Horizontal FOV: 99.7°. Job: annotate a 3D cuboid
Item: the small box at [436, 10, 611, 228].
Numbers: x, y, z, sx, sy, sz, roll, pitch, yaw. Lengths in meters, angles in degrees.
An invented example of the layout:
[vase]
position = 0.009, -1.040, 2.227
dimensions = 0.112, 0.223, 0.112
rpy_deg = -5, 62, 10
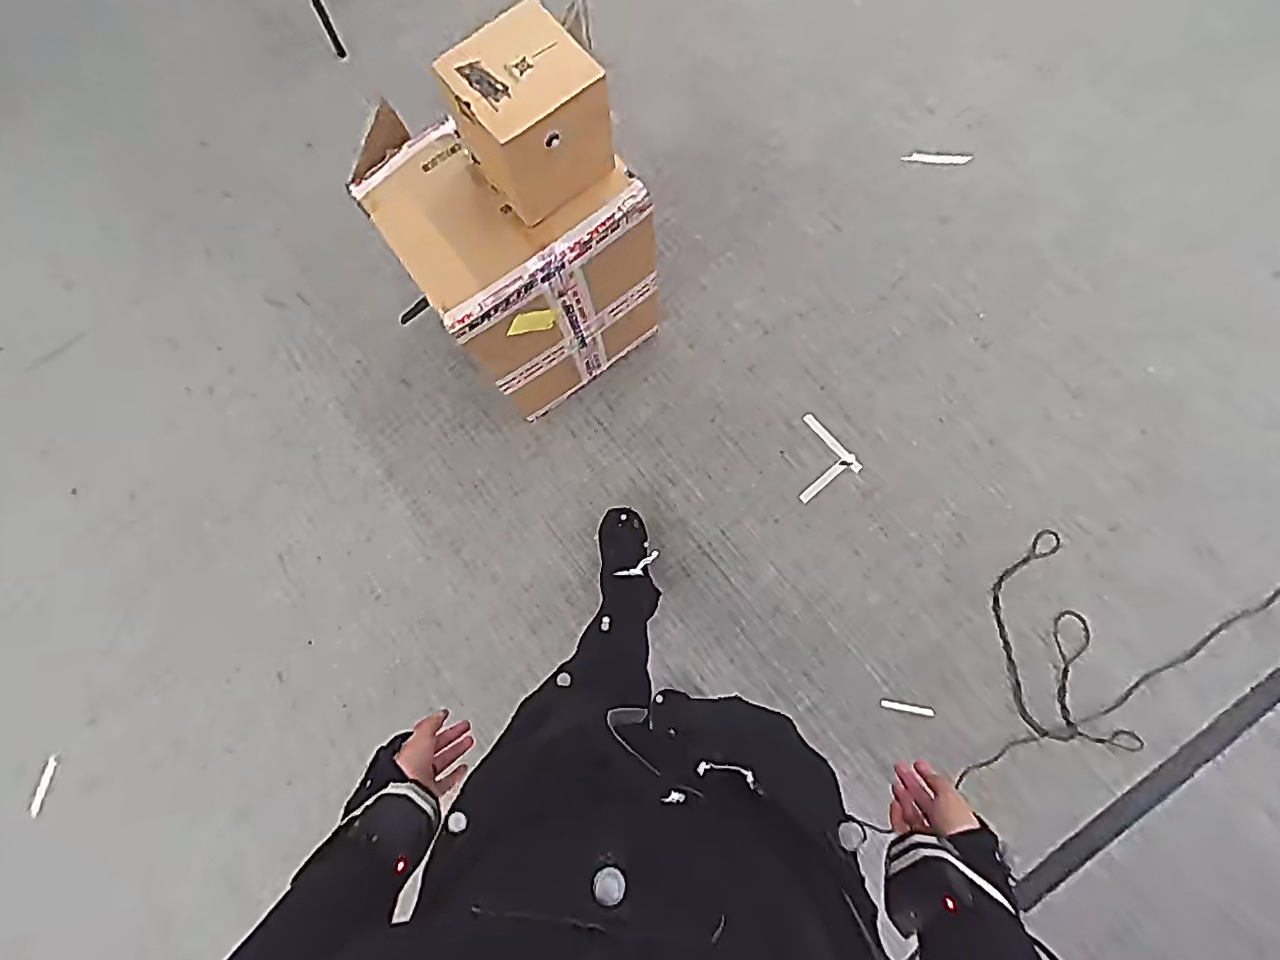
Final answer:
[small box]
position = -0.159, -0.519, 0.802
dimensions = 0.179, 0.176, 0.168
rpy_deg = -38, 81, -6
